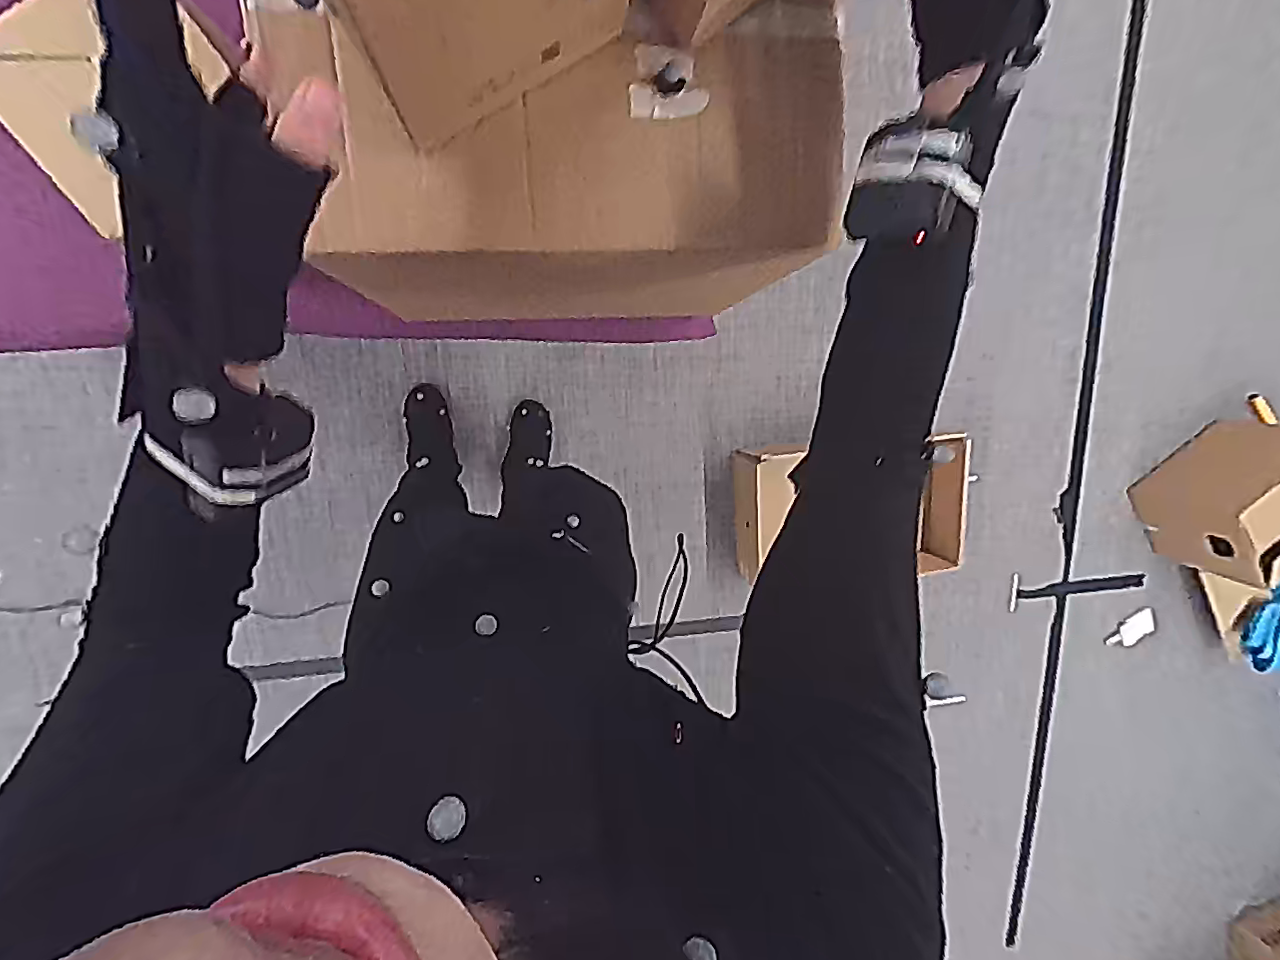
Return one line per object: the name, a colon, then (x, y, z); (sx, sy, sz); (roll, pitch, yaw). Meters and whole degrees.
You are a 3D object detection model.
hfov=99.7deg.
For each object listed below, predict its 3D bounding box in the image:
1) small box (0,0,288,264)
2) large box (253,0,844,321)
small box: (-0.443, -0.338, 0.518); (0.179, 0.176, 0.168); (-34, 104, 0)
large box: (-0.073, -0.339, 0.511); (0.408, 0.320, 0.320); (-4, 99, -9)
